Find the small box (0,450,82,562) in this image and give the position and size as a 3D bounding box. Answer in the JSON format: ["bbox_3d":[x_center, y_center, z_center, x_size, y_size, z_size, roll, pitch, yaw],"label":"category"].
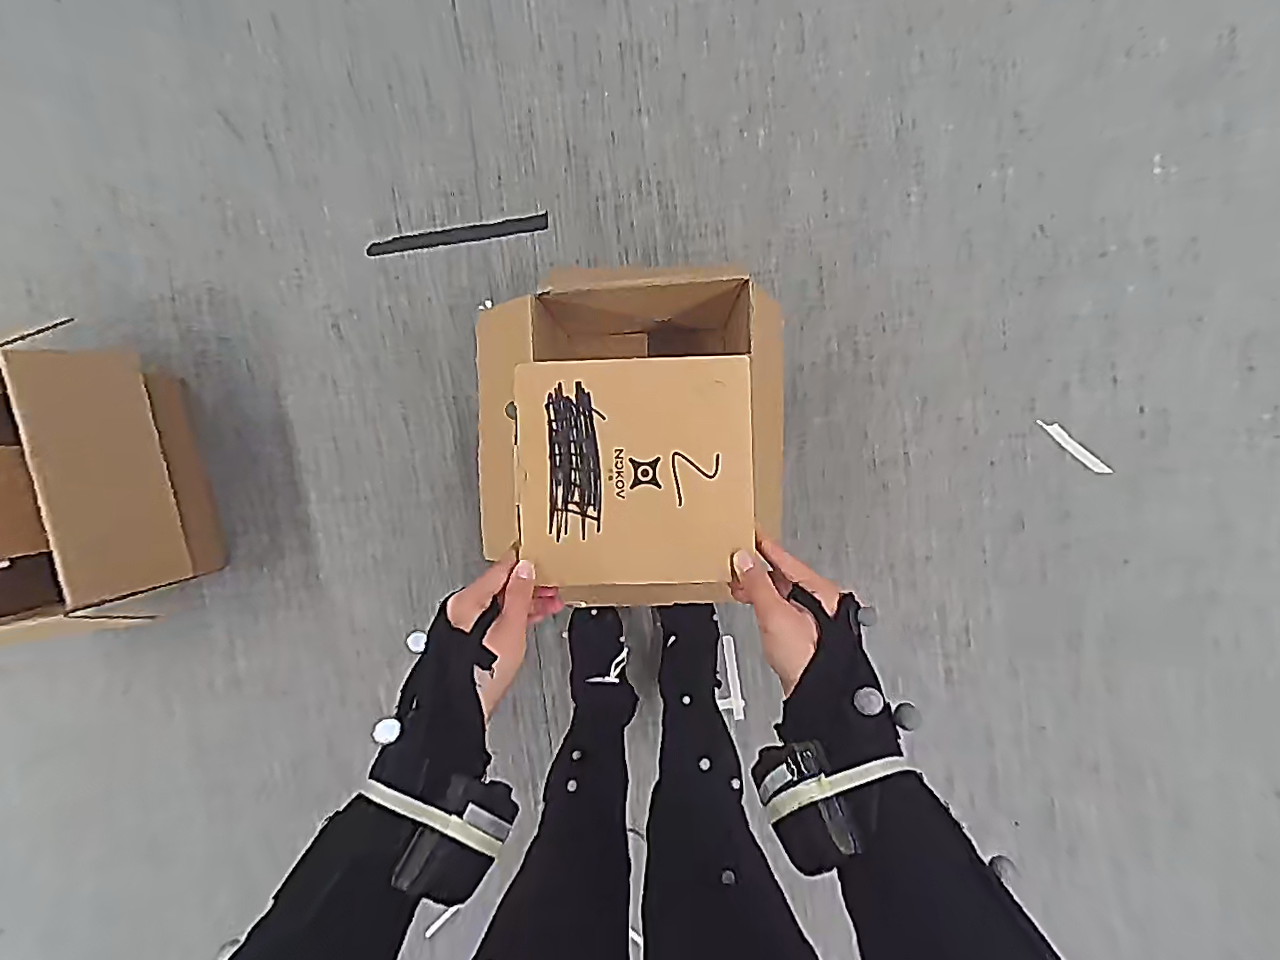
[{"bbox_3d":[-1.053,0.046,0.852,0.168,0.176,0.179,-8,93,3],"label":"small box"}]
